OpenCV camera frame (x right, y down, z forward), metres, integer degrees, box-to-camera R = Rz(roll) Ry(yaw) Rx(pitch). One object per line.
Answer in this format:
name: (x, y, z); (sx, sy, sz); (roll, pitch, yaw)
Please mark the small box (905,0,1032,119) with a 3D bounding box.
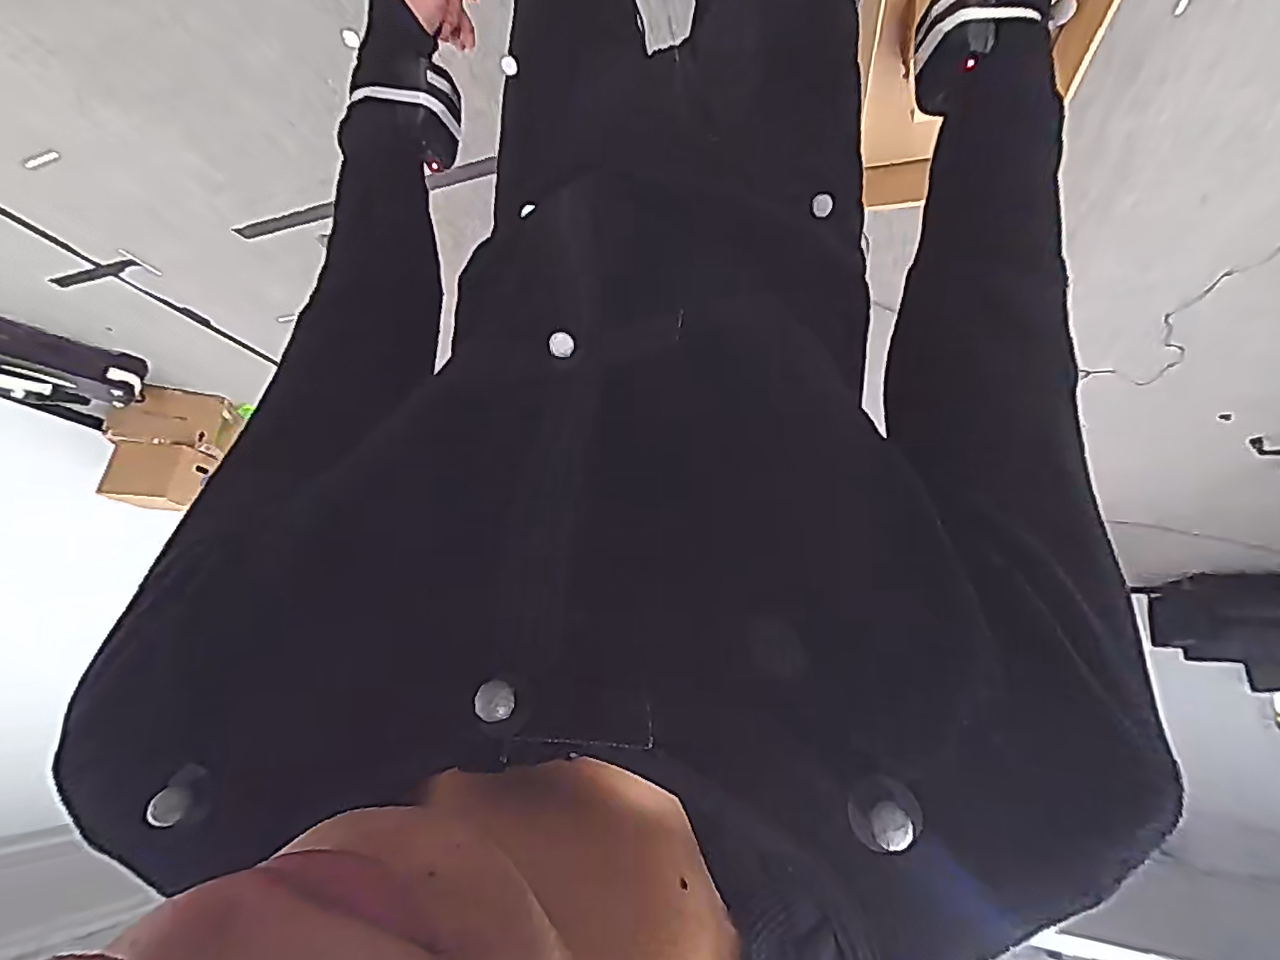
small box: (0.623, -0.857, 1.053); (0.179, 0.176, 0.168); (-3, 161, 19)
